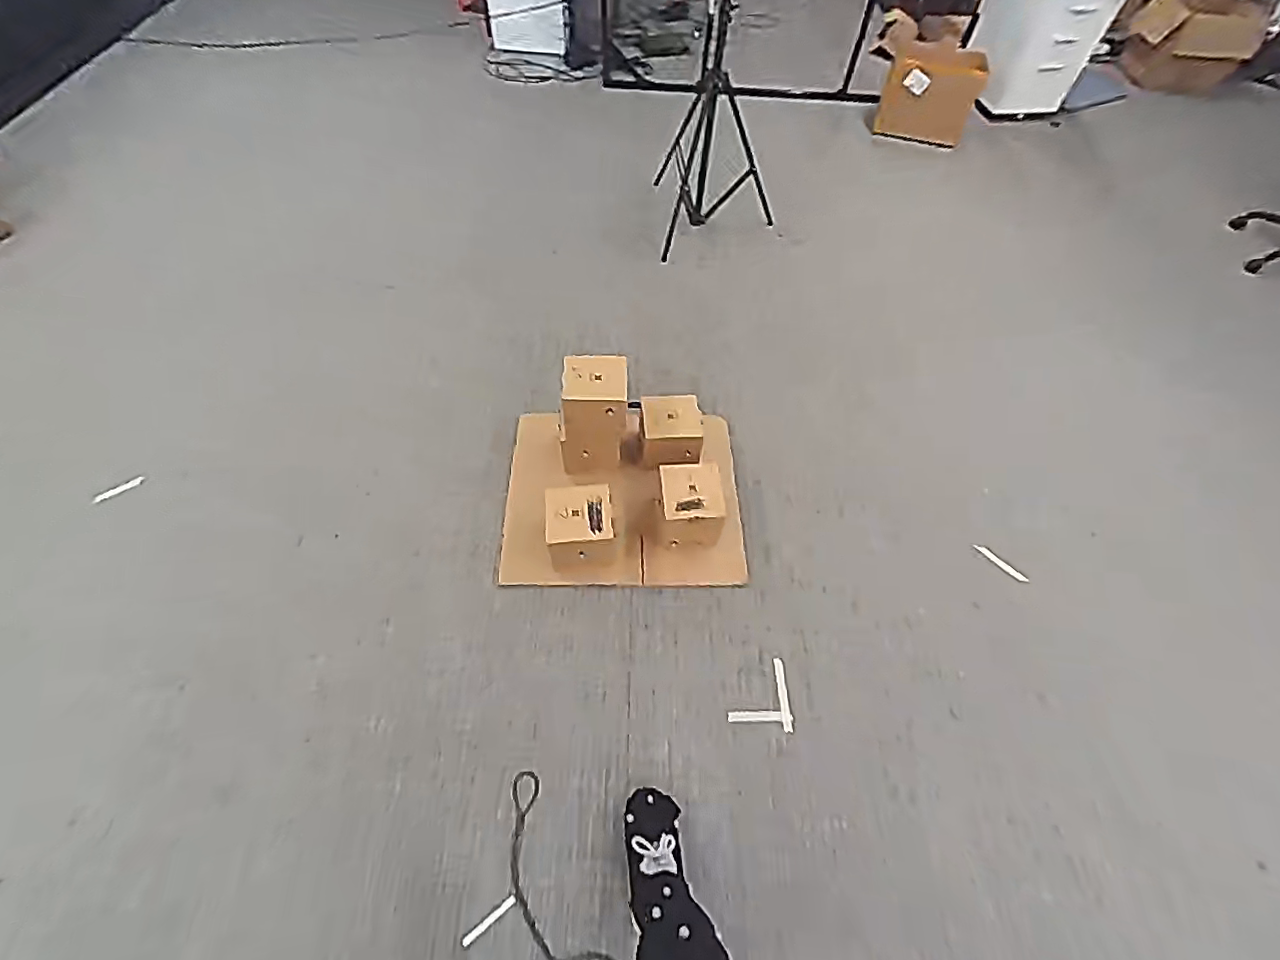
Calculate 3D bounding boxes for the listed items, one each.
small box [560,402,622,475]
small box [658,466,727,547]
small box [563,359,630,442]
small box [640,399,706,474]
[{"bbox_3d":[-0.149,-0.128,1.656,0.179,0.176,0.168,-4,57,-4],"label":"small box"},{"bbox_3d":[0.143,0.081,1.531,0.168,0.176,0.179,-2,57,-4],"label":"small box"},{"bbox_3d":[-0.119,-0.219,1.518,0.179,0.176,0.168,0,56,-2],"label":"small box"},{"bbox_3d":[0.096,-0.133,1.673,0.179,0.176,0.168,-4,56,-4],"label":"small box"}]
